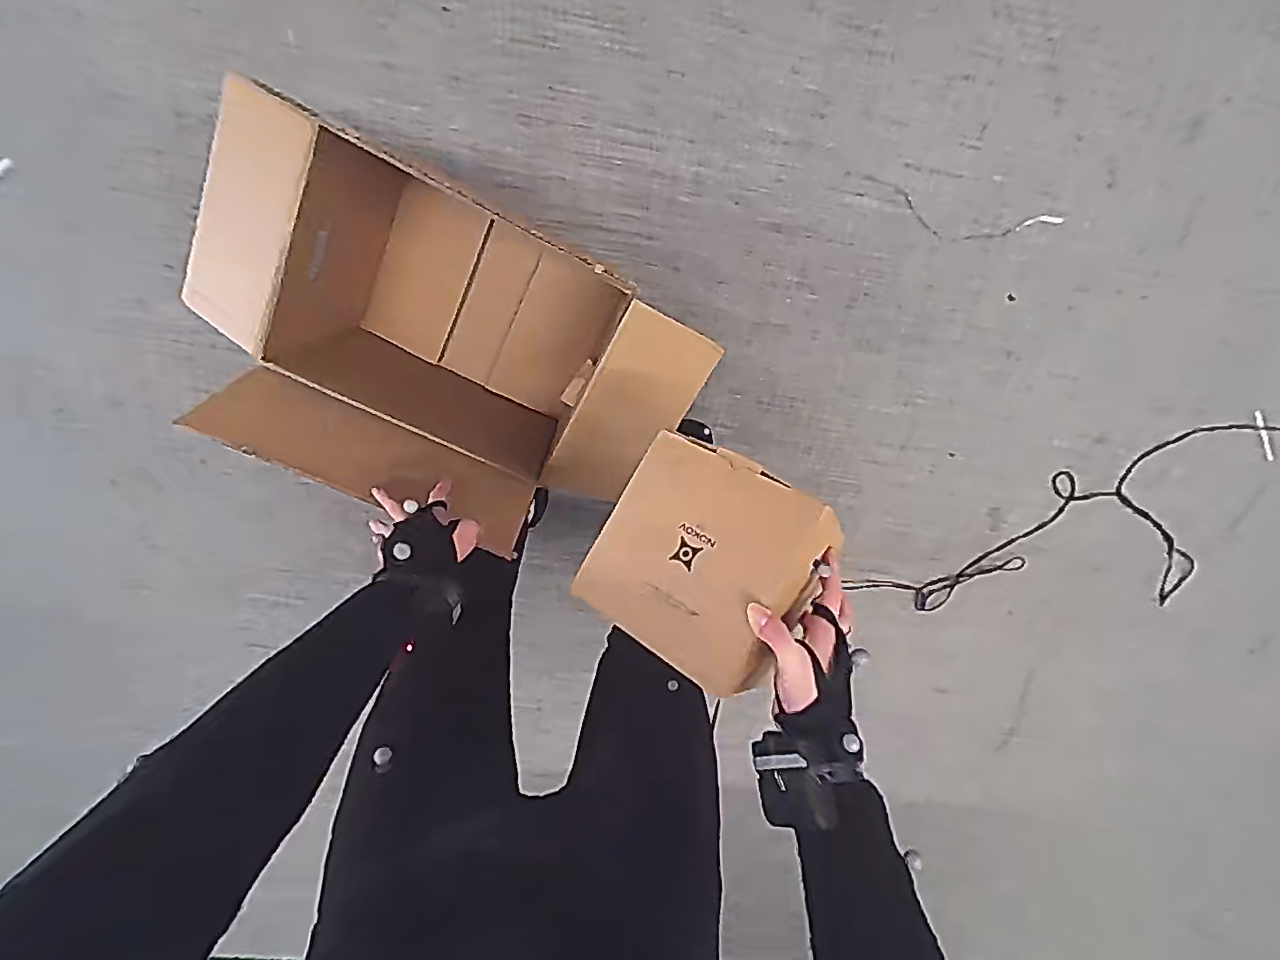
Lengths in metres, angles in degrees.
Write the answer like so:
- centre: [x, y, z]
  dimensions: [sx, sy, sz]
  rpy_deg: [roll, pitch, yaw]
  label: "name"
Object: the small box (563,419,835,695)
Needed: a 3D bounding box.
- centre: [0.068, 0.076, 0.511]
  dimensions: [0.179, 0.168, 0.176]
  rpy_deg: [-58, 149, -2]
  label: "small box"
